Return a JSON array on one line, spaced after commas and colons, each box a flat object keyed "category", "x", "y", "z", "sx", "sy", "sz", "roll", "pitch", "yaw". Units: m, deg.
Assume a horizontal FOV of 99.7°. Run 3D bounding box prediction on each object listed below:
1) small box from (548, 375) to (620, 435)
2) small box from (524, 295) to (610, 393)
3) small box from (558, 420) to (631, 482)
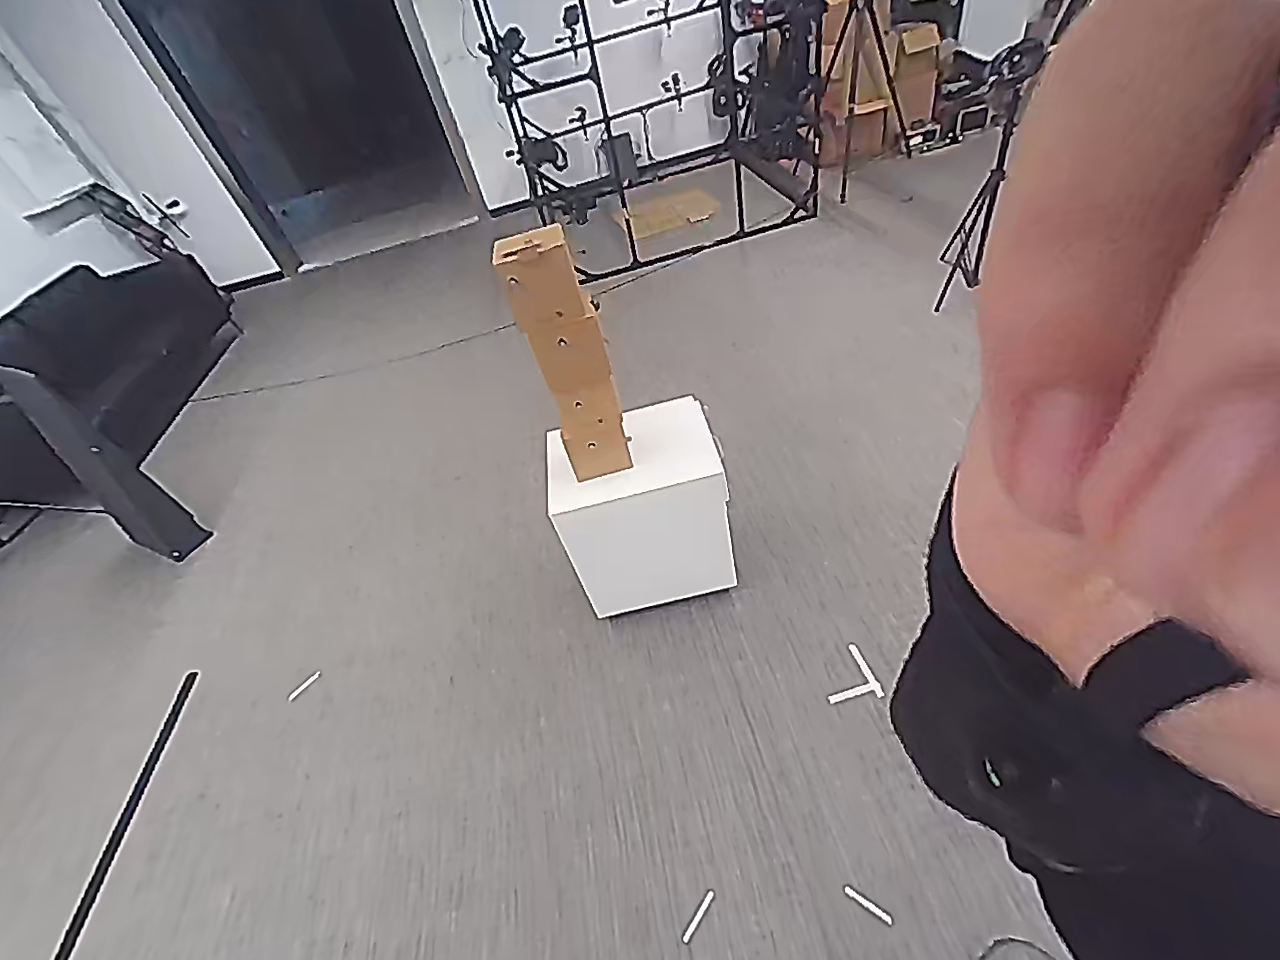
[{"category": "small box", "x": -0.159, "y": -0.243, "z": 1.521, "sx": 0.168, "sy": 0.176, "sz": 0.179, "roll": -15, "pitch": 42, "yaw": 1}, {"category": "small box", "x": -0.188, "y": -0.348, "z": 1.397, "sx": 0.179, "sy": 0.176, "sz": 0.168, "roll": -15, "pitch": 43, "yaw": 1}, {"category": "small box", "x": -0.136, "y": -0.115, "z": 1.620, "sx": 0.179, "sy": 0.176, "sz": 0.168, "roll": -15, "pitch": 43, "yaw": -1}]
